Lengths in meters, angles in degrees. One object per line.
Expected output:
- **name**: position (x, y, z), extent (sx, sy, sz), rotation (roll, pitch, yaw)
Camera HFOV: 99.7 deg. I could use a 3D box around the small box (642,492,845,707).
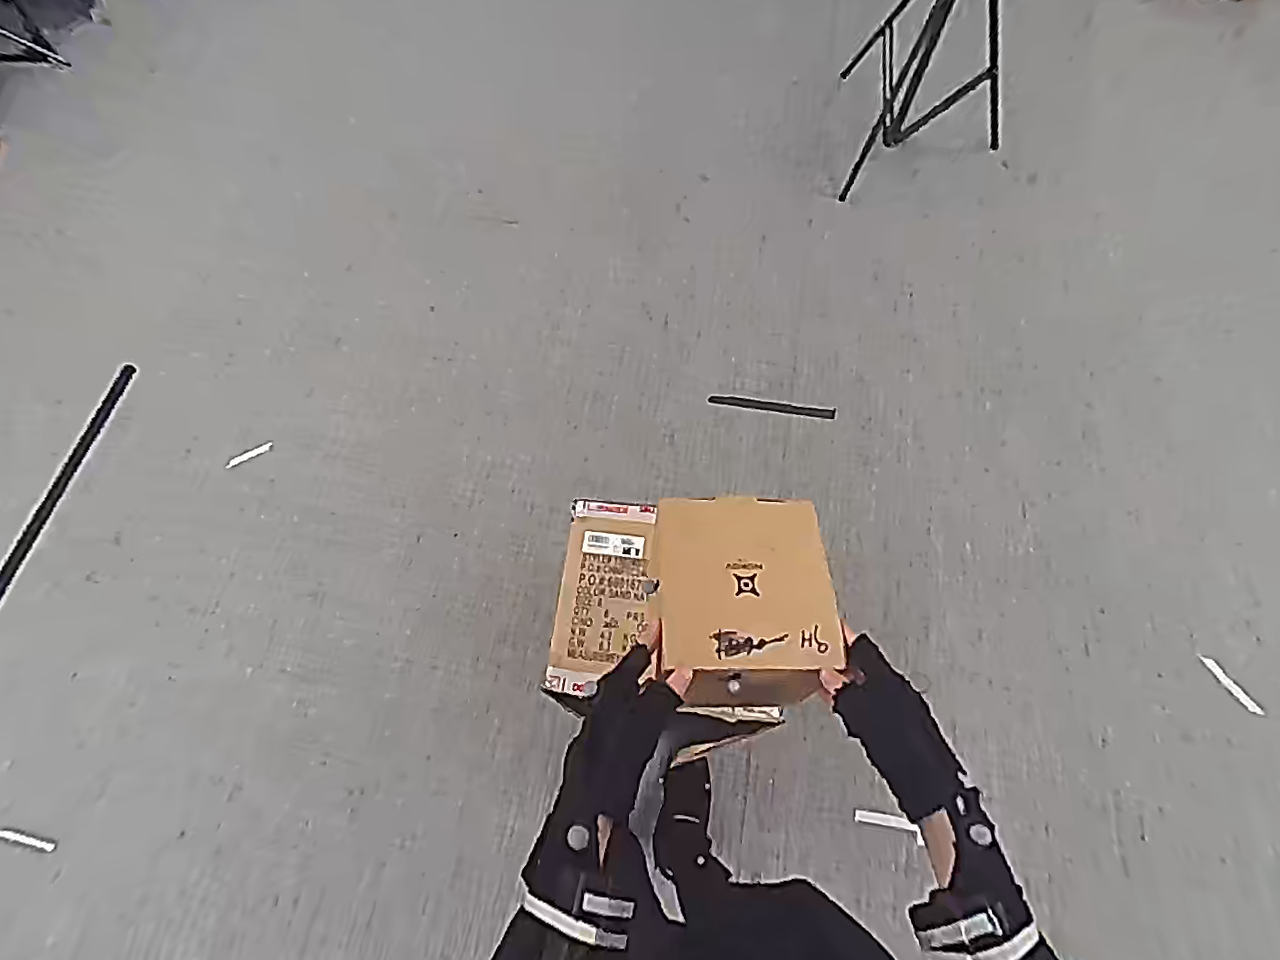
- **small box**: position (0.090, 0.131, 0.575), extent (0.168, 0.176, 0.179), rotation (1, 57, -3)
